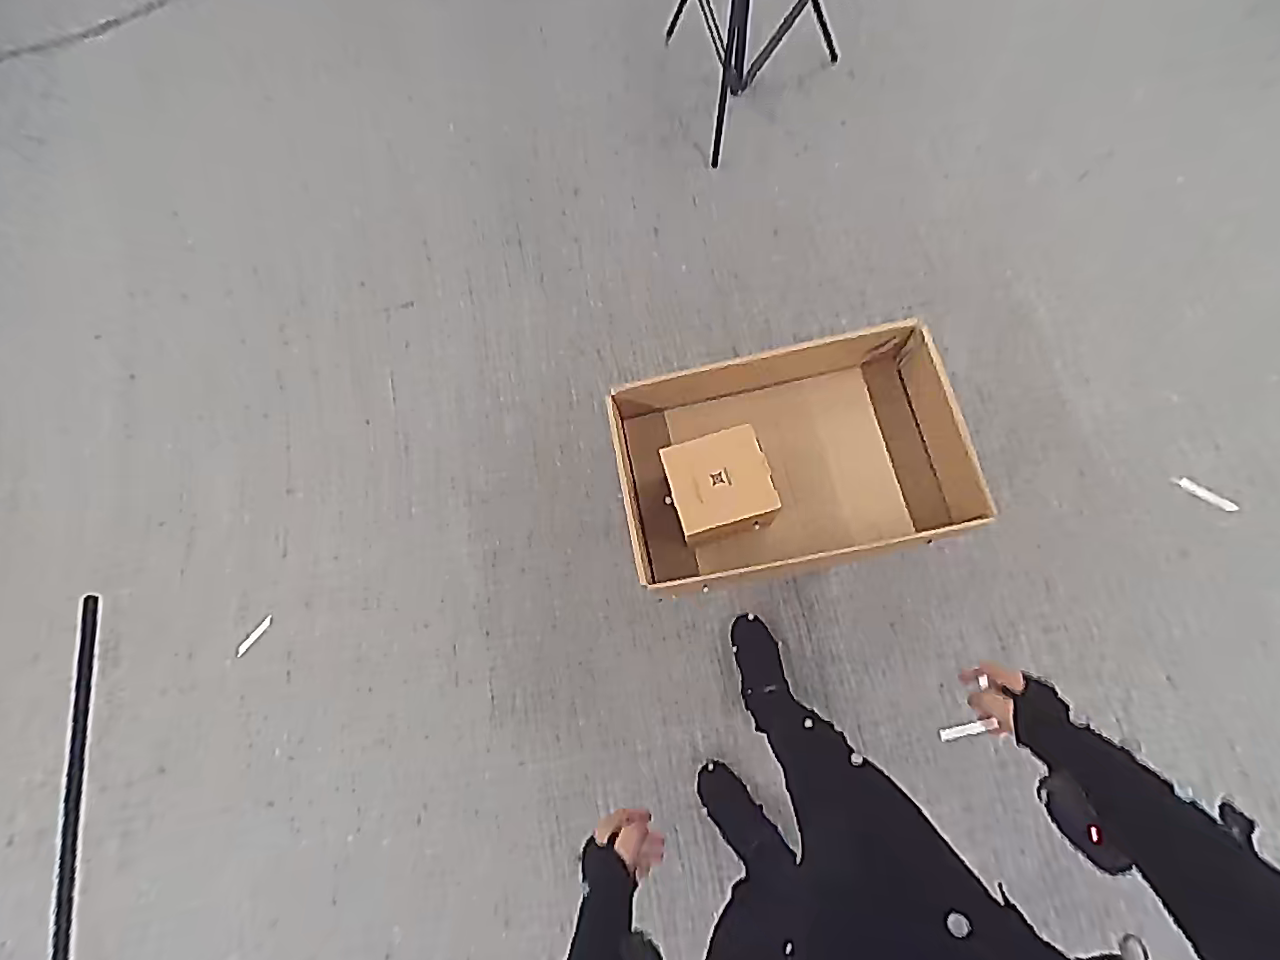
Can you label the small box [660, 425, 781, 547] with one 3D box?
[{"bbox_3d":[0.146,0.019,1.020,0.179,0.176,0.168,-17,73,2],"label":"small box"}]
